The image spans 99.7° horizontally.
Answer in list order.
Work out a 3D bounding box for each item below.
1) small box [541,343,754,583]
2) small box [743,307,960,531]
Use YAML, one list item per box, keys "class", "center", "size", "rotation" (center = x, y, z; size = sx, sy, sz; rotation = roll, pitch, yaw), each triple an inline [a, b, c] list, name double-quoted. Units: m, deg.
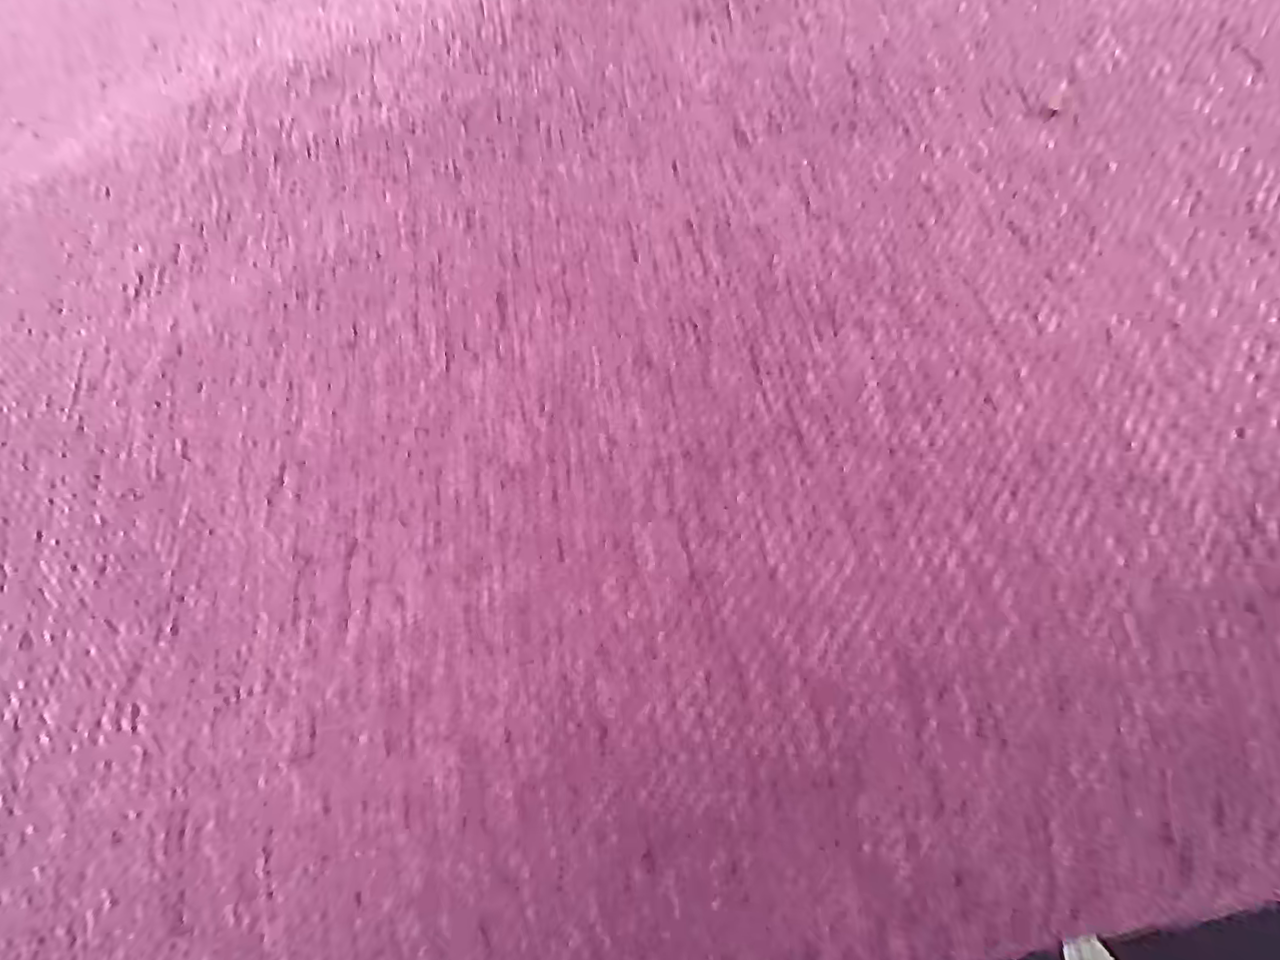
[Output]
- class: "small box"
  center: [0.011, -0.009, 0.582]
  size: [0.168, 0.176, 0.179]
  rotation: [-19, 66, 1]
- class: "small box"
  center: [0.222, -0.060, 0.626]
  size: [0.168, 0.176, 0.179]
  rotation: [-17, 69, 4]
